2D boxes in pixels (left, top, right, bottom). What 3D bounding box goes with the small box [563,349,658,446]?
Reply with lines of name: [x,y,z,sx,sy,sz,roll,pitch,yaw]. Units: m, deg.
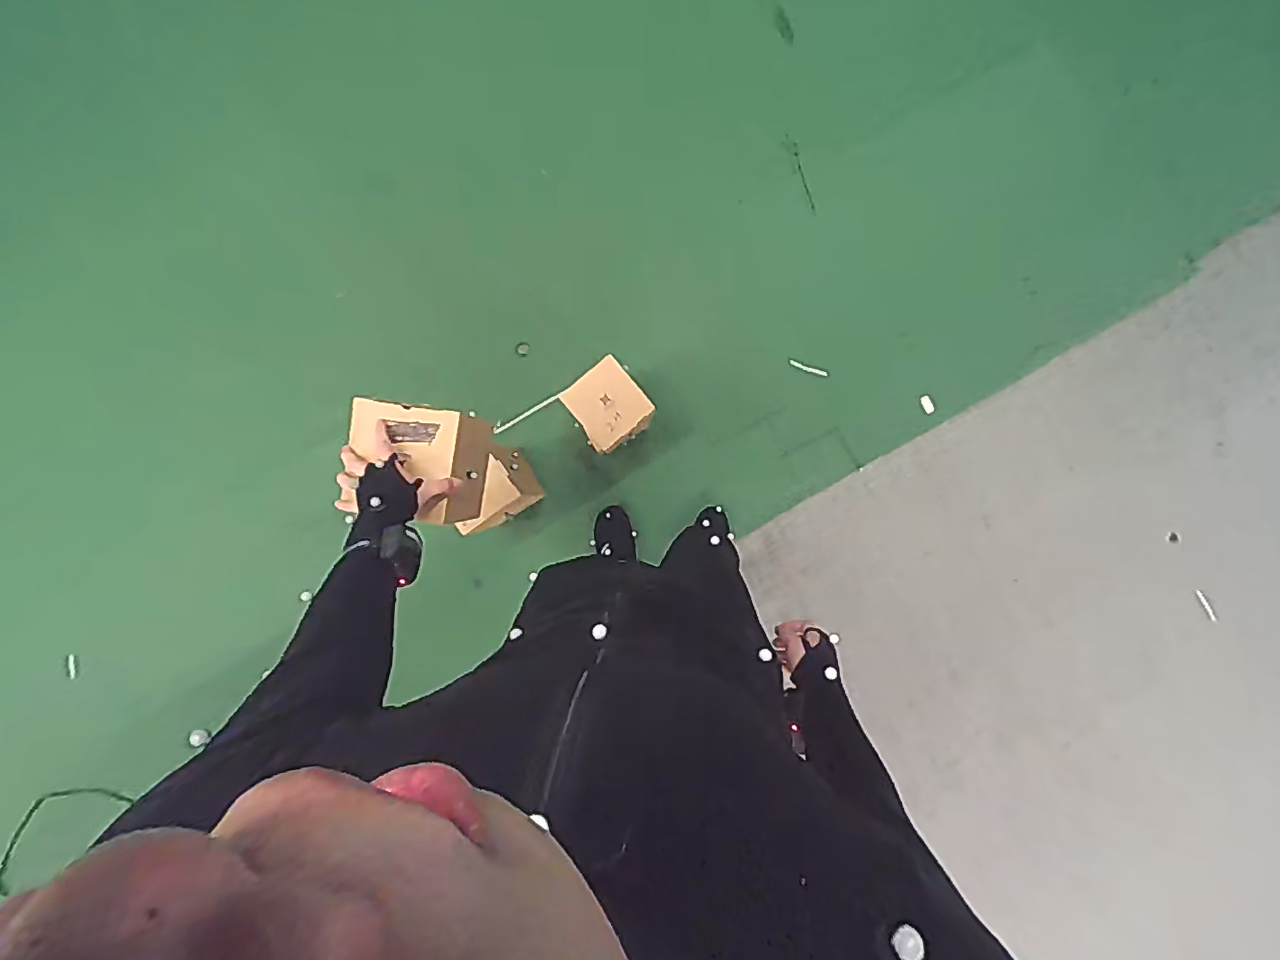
small box: [-0.071,-0.199,1.378,0.168,0.176,0.179,-40,90,2]

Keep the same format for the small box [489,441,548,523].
small box: [-0.384,0.003,1.550,0.168,0.176,0.179,-32,89,2]

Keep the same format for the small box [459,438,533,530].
small box: [-0.392,0.007,1.386,0.179,0.176,0.168,-34,89,1]

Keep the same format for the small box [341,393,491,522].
small box: [-0.358,-0.036,0.896,0.168,0.176,0.179,9,92,3]
